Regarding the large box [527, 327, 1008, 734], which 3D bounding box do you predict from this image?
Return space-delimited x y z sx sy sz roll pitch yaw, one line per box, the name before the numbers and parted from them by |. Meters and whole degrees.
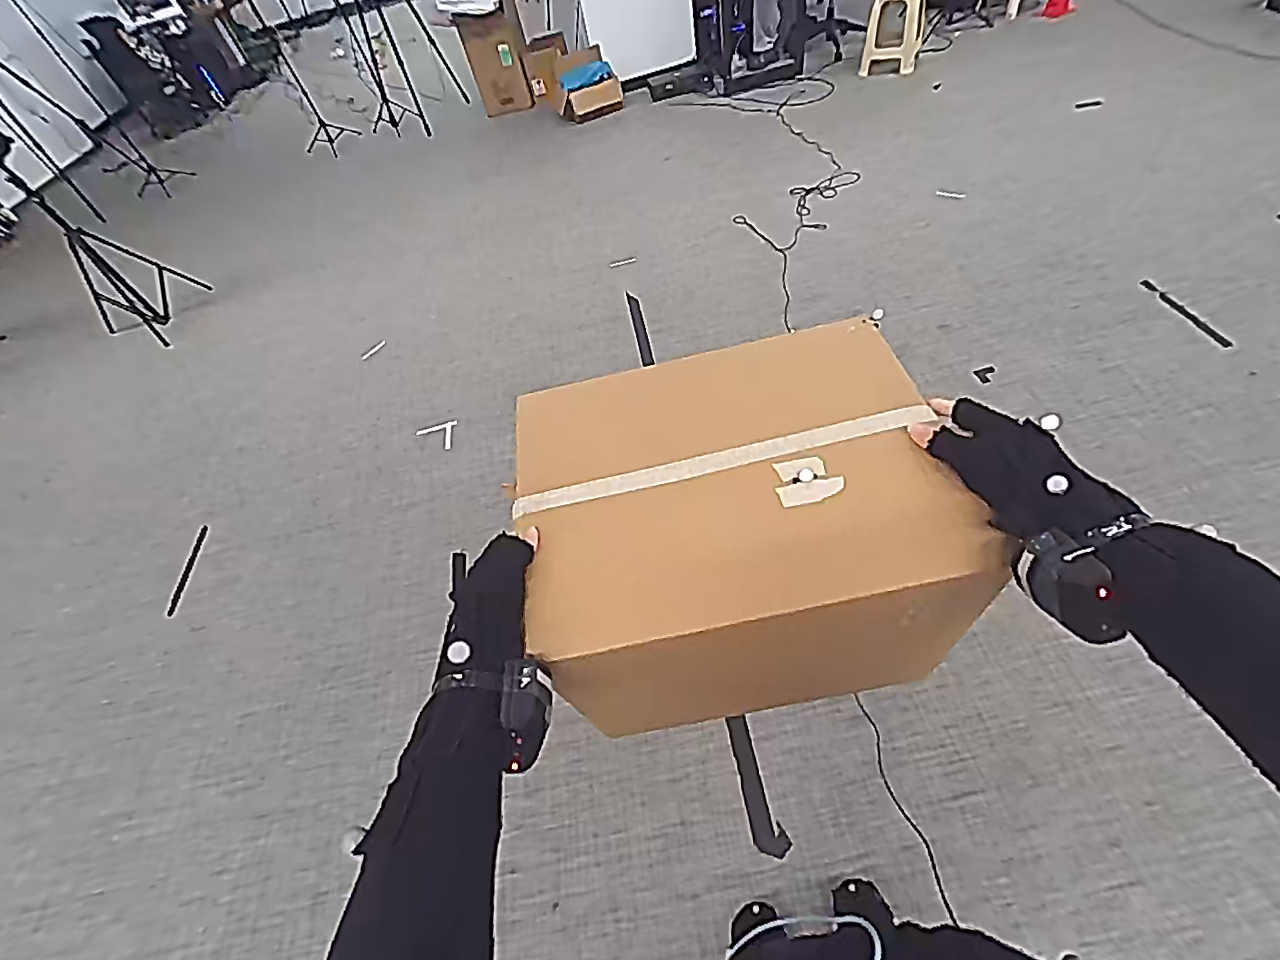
large box | 0.107 0.075 0.650 0.408 0.320 0.320 -13 53 2
